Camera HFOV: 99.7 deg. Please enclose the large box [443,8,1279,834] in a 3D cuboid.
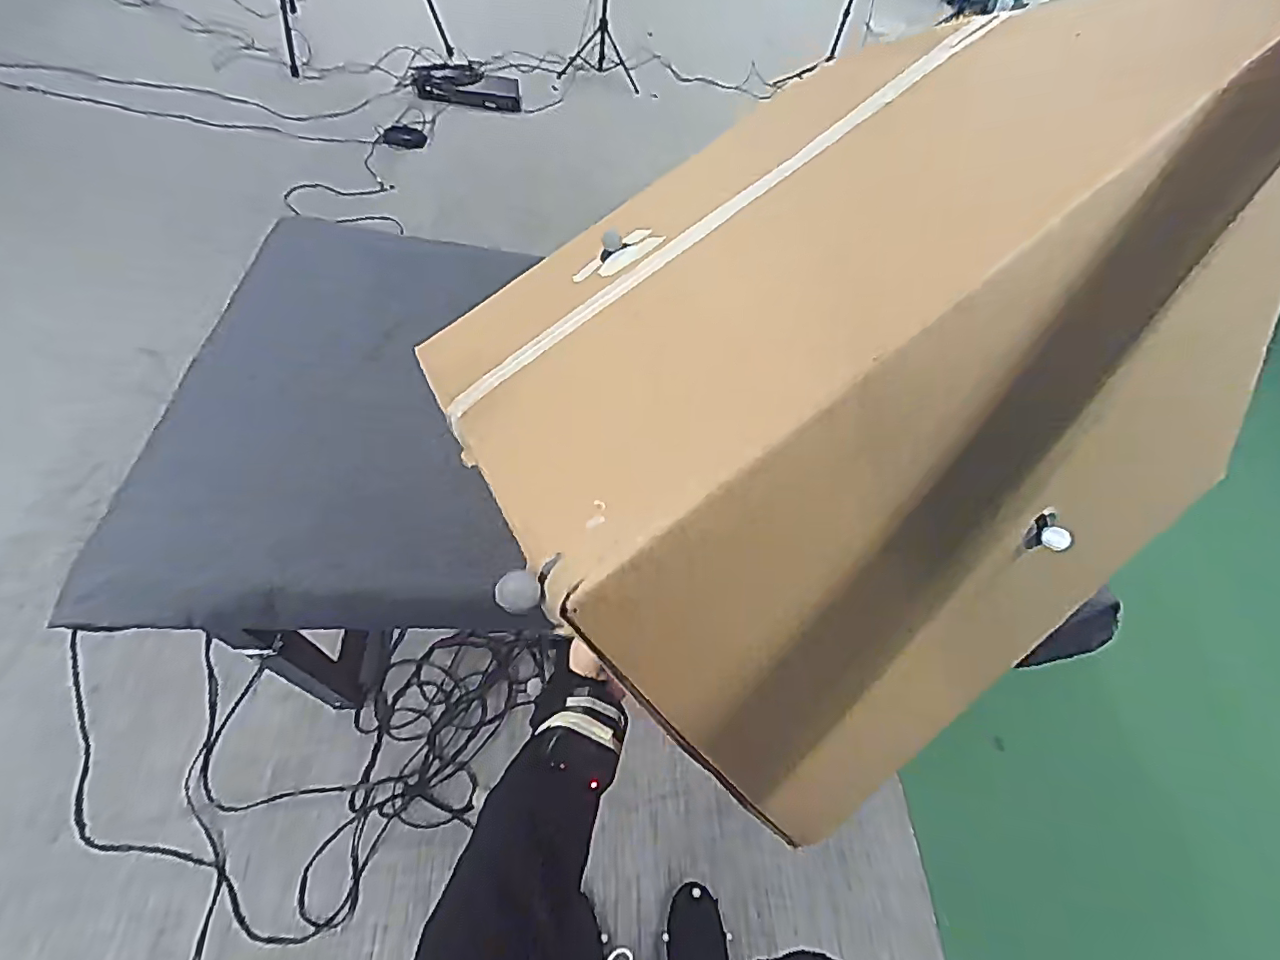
[{"bbox_3d":[0.138,-0.042,0.407,0.408,0.320,0.320,-39,38,-6],"label":"large box"}]
